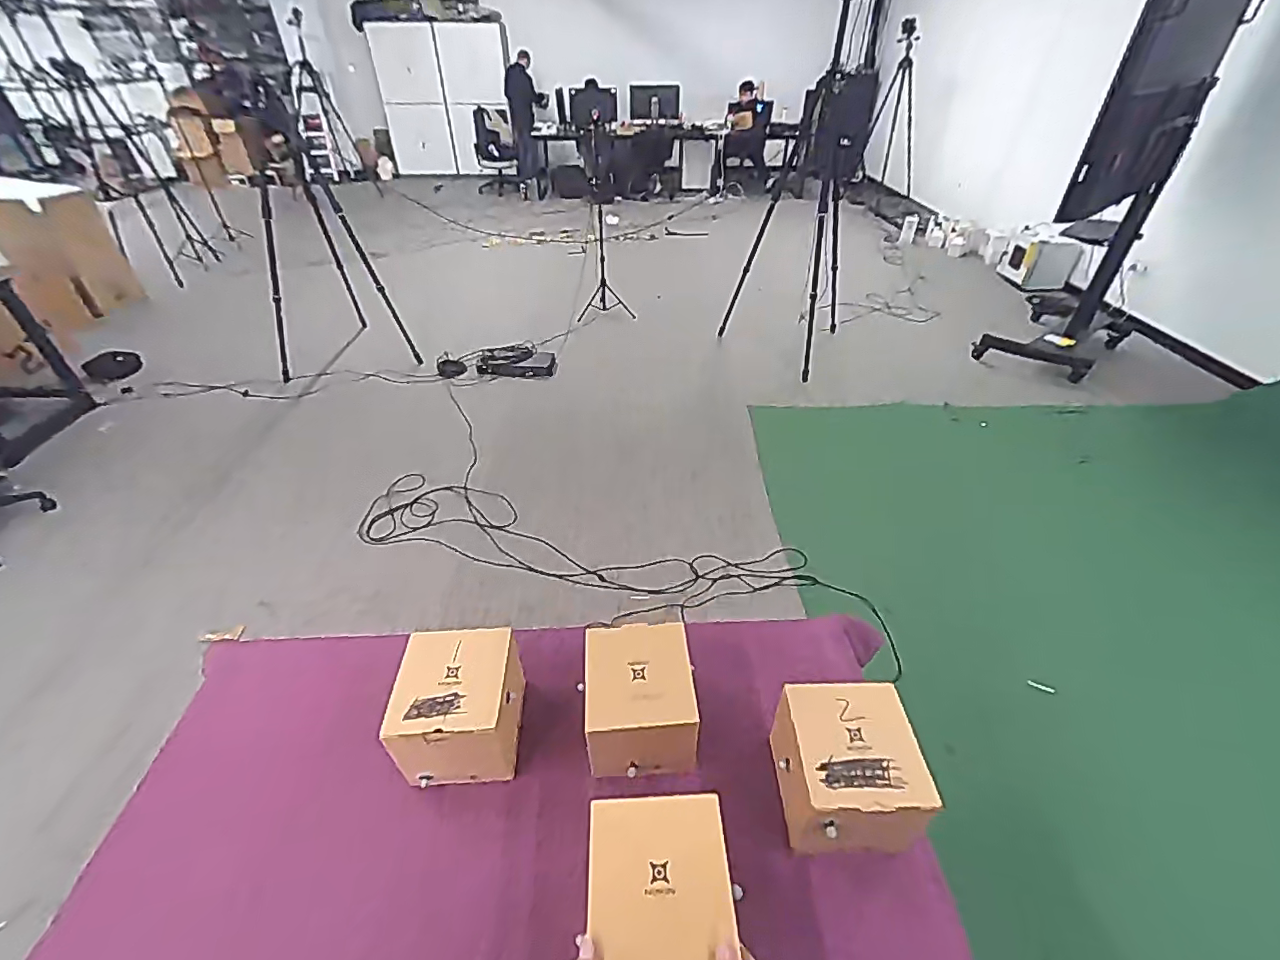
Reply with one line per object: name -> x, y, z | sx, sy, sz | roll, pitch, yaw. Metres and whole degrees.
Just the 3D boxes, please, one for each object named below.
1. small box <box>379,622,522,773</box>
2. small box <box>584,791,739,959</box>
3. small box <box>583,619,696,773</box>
small box -> -0.290, 0.354, 0.874 | 0.168, 0.176, 0.179 | -1, 39, -3
small box -> 0.018, 0.519, 0.677 | 0.168, 0.176, 0.179 | -1, 39, -2
small box -> -0.005, 0.351, 0.884 | 0.168, 0.176, 0.179 | -3, 40, -2
